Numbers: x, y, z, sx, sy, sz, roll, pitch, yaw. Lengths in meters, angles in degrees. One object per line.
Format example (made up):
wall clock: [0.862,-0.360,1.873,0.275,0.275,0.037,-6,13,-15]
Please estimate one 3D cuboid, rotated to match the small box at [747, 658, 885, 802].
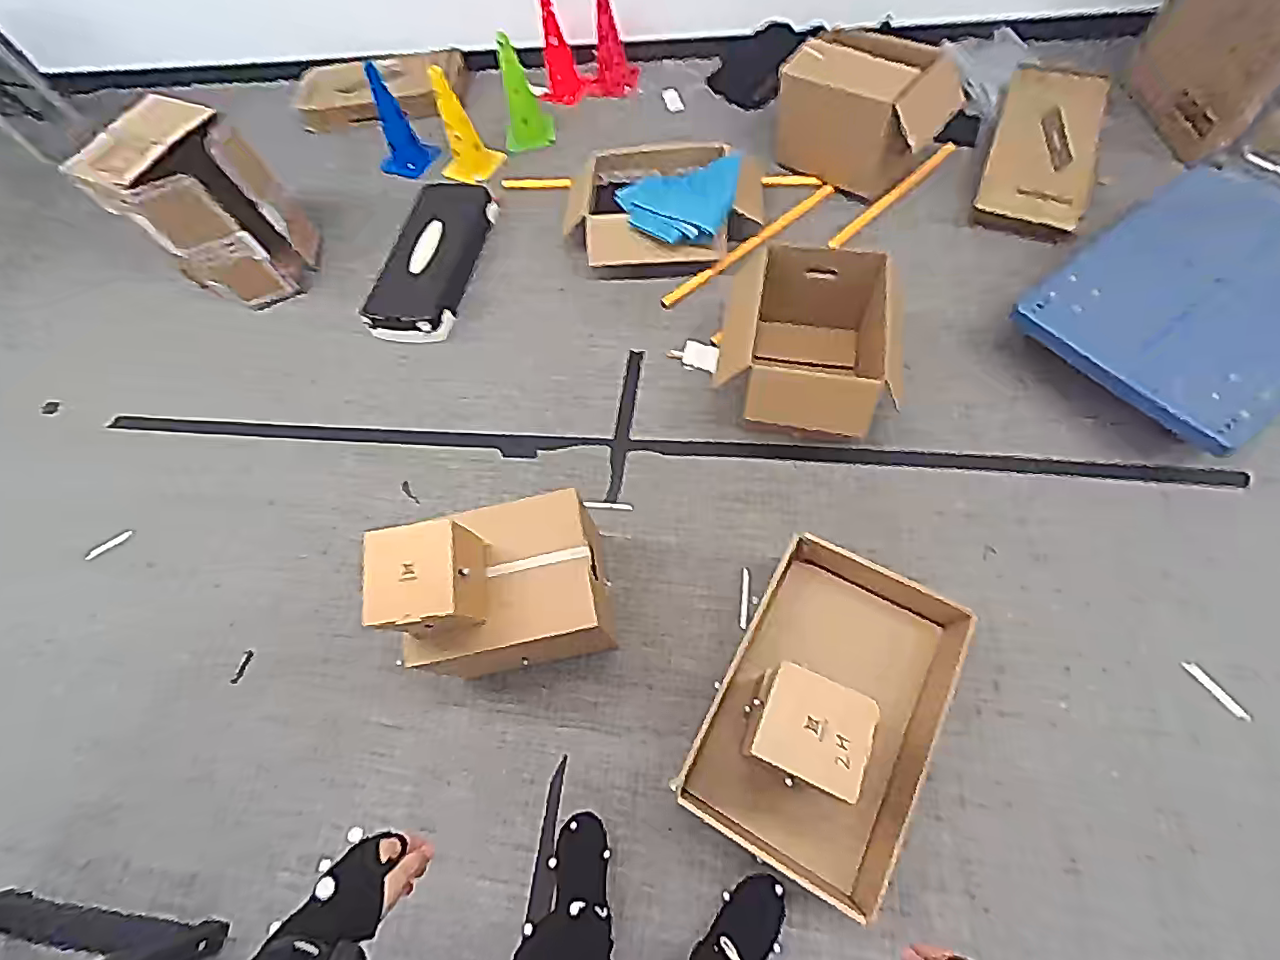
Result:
small box: [0.300,0.441,0.957,0.179,0.176,0.168,21,67,15]
